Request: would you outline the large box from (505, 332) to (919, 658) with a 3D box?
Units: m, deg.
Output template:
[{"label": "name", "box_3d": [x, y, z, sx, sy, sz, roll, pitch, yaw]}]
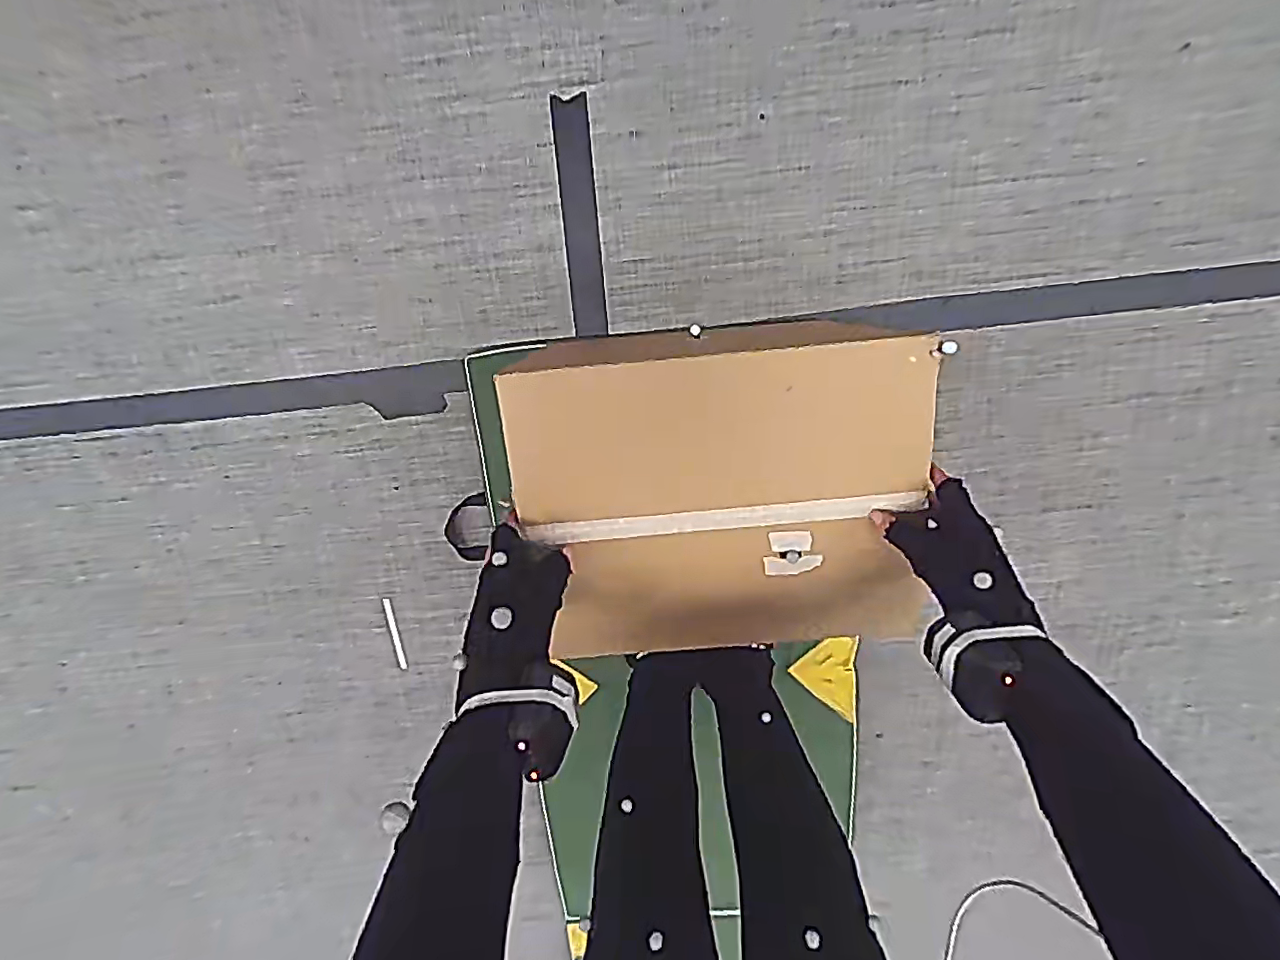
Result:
[{"label": "large box", "box_3d": [0.079, -0.010, 0.699, 0.408, 0.320, 0.320, -6, 109, 1]}]
